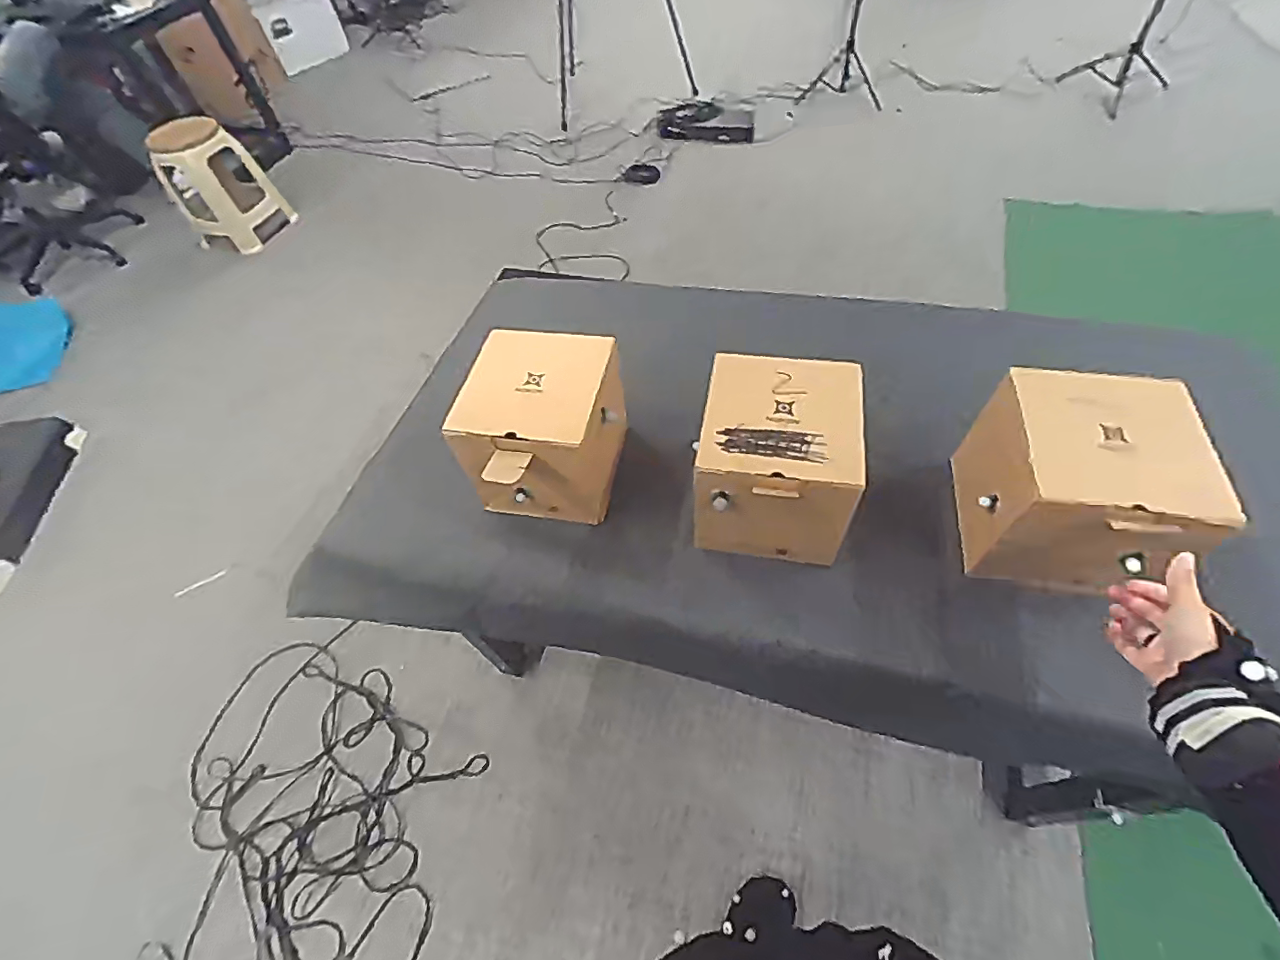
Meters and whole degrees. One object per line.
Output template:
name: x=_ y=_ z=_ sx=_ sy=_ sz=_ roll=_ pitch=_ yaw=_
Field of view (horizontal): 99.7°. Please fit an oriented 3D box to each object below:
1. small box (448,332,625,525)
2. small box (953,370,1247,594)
small box: x=-0.117 y=-0.065 z=0.704 sx=0.168 sy=0.176 sz=0.179 roll=6 pitch=56 yaw=10
small box: x=0.468 y=0.006 z=0.591 sx=0.168 sy=0.176 sz=0.179 roll=7 pitch=55 yaw=10
